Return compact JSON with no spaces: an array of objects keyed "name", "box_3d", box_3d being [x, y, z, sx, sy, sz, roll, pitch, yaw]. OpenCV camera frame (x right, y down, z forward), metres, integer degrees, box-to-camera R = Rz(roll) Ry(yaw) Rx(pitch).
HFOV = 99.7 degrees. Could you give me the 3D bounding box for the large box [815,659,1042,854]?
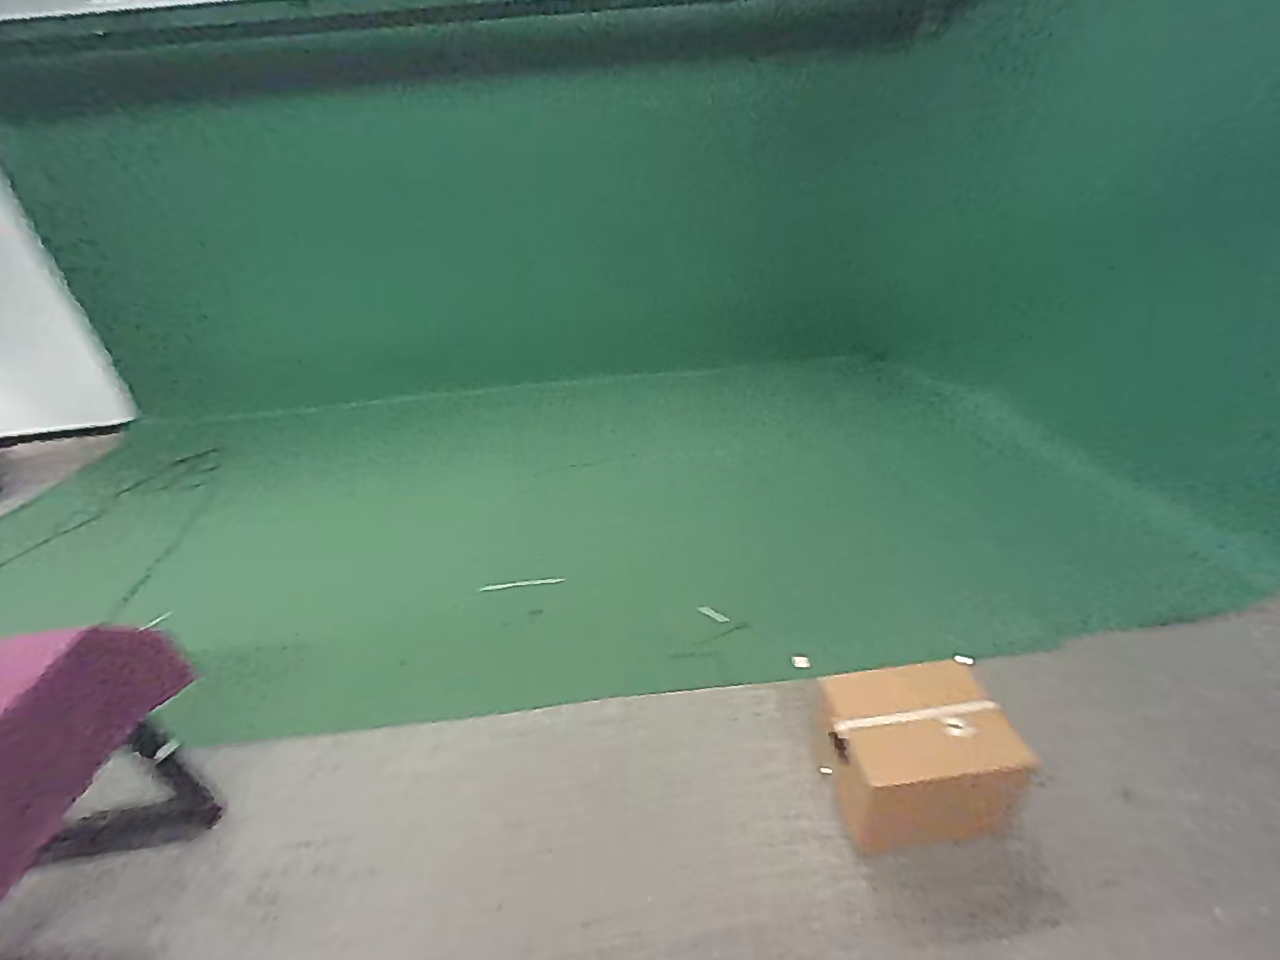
[{"name":"large box","box_3d":[0.723,0.721,1.428,0.408,0.320,0.320,-6,30,-3]}]
